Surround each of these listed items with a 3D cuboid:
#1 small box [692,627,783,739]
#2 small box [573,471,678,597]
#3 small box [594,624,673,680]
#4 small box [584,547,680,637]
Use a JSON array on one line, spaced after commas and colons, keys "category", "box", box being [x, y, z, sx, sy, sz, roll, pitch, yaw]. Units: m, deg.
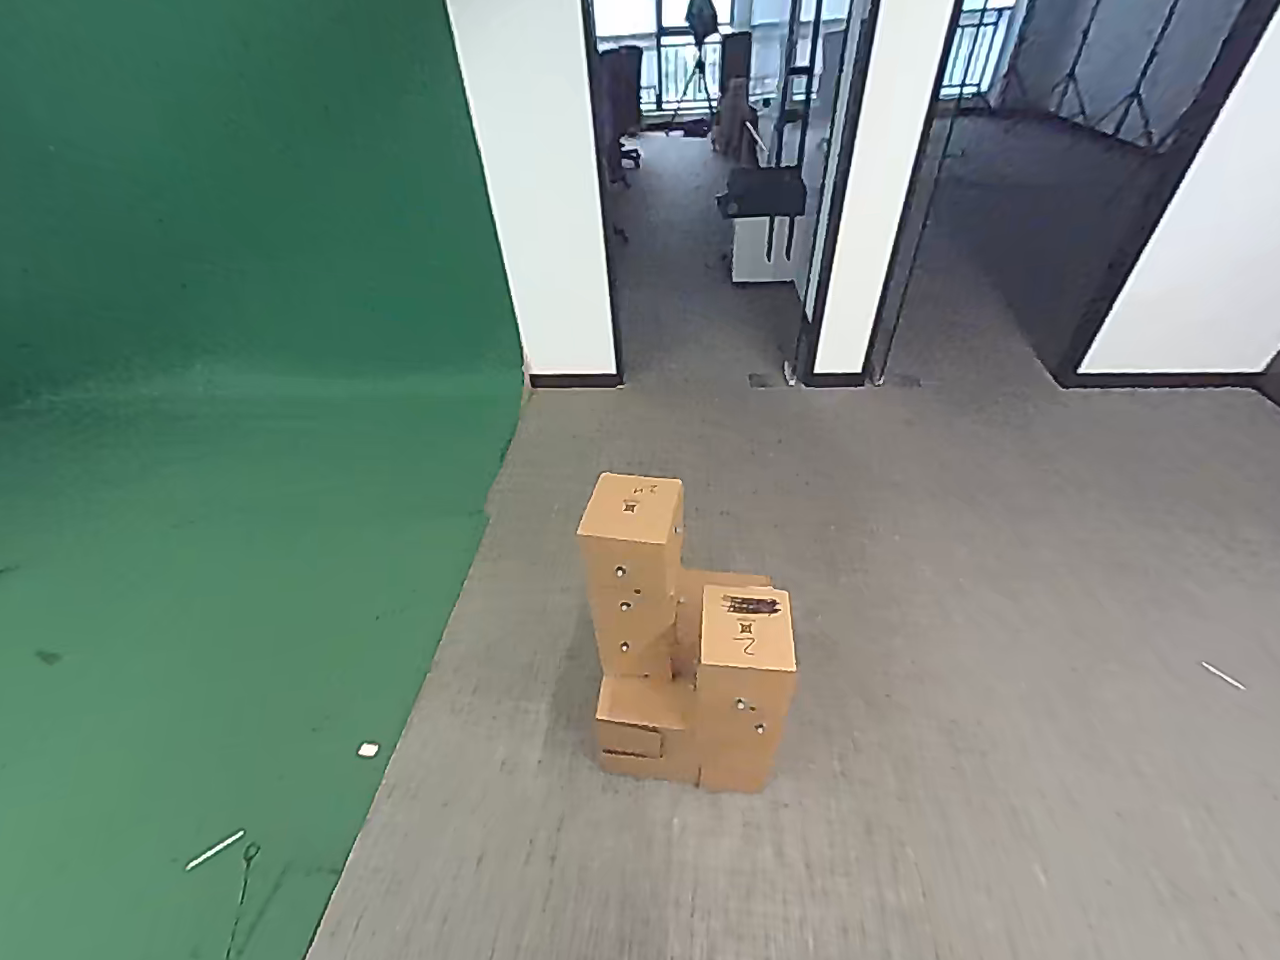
[{"category": "small box", "box": [0.203, 0.440, 1.166, 0.179, 0.176, 0.168, 1, 41, 6]}, {"category": "small box", "box": [-0.018, 0.106, 1.064, 0.168, 0.176, 0.179, 6, 42, 11]}, {"category": "small box", "box": [-0.007, 0.348, 1.289, 0.168, 0.176, 0.179, 2, 40, 8]}, {"category": "small box", "box": [-0.009, 0.224, 1.175, 0.179, 0.176, 0.168, -1, 41, 8]}]
